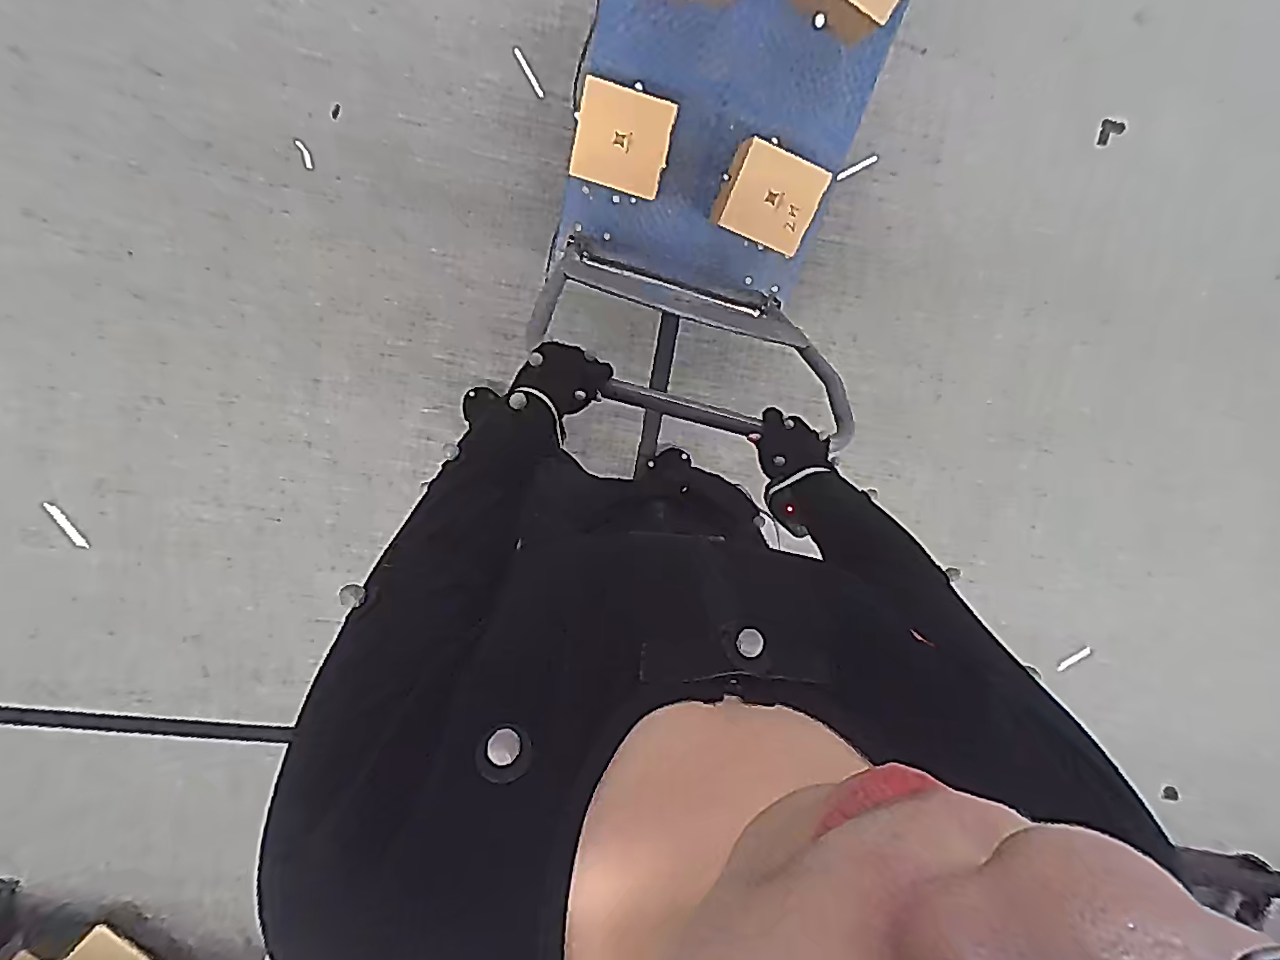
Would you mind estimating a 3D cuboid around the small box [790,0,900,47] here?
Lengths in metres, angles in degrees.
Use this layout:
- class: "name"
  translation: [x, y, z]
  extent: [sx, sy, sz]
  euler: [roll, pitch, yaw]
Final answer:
- class: "small box"
  translation: [0.393, -0.929, 0.967]
  extent: [0.168, 0.176, 0.179]
  euler: [24, 116, -14]

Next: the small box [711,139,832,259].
- class: "small box"
  translation: [0.264, -0.590, 1.144]
  extent: [0.179, 0.176, 0.168]
  euler: [19, 117, -11]

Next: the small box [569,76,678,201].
- class: "small box"
  translation: [-0.037, -0.675, 1.090]
  extent: [0.179, 0.176, 0.168]
  euler: [12, 117, -10]
